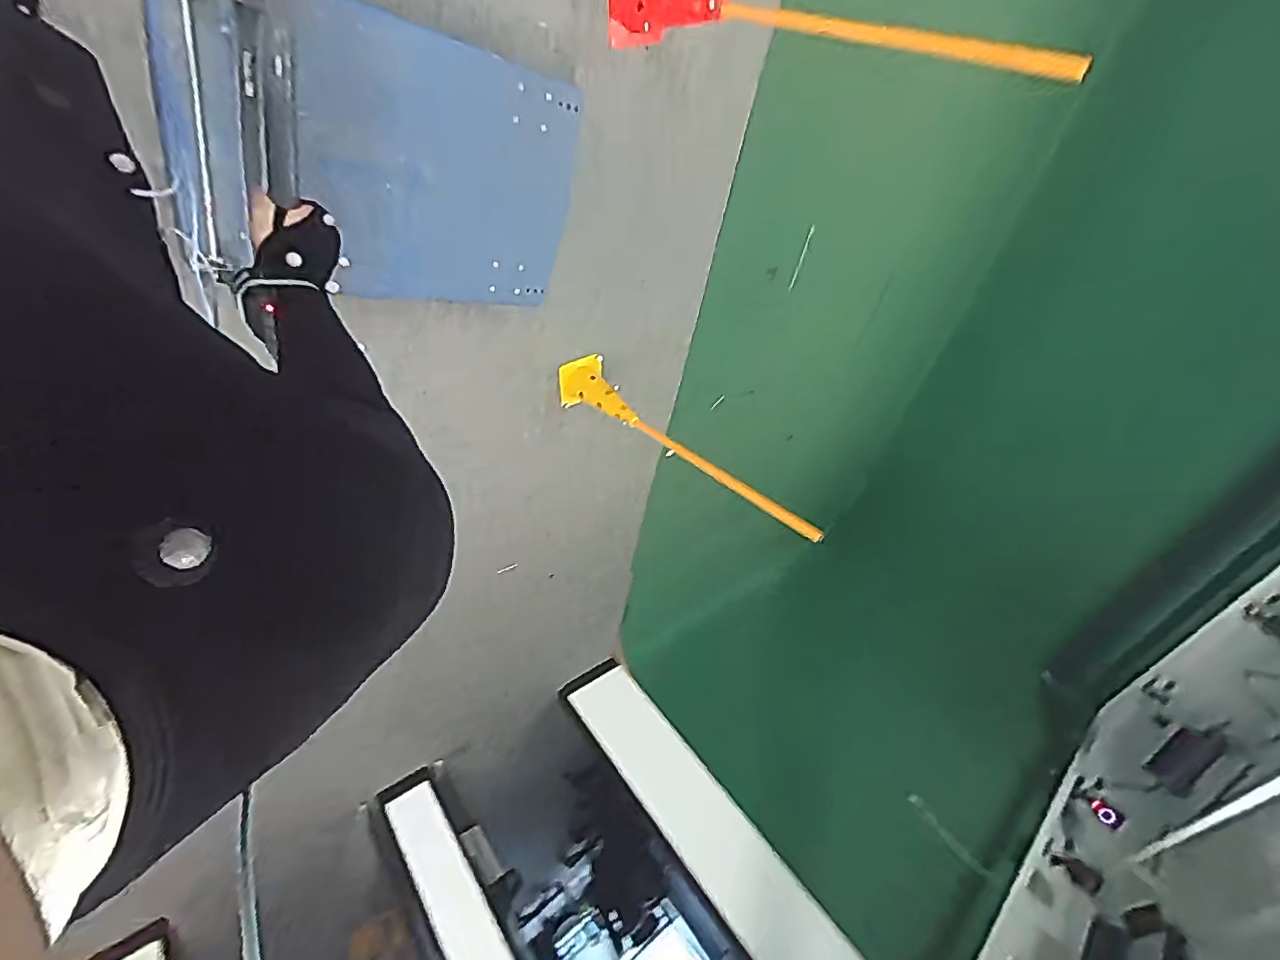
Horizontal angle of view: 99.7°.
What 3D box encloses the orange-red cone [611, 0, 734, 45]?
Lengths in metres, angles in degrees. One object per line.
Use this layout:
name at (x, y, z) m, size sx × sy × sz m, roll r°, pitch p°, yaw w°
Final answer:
orange-red cone at (0.105, -1.252, 1.411) m, size 0.198 × 0.360 × 0.199 m, roll -30°, pitch 141°, yaw -26°
